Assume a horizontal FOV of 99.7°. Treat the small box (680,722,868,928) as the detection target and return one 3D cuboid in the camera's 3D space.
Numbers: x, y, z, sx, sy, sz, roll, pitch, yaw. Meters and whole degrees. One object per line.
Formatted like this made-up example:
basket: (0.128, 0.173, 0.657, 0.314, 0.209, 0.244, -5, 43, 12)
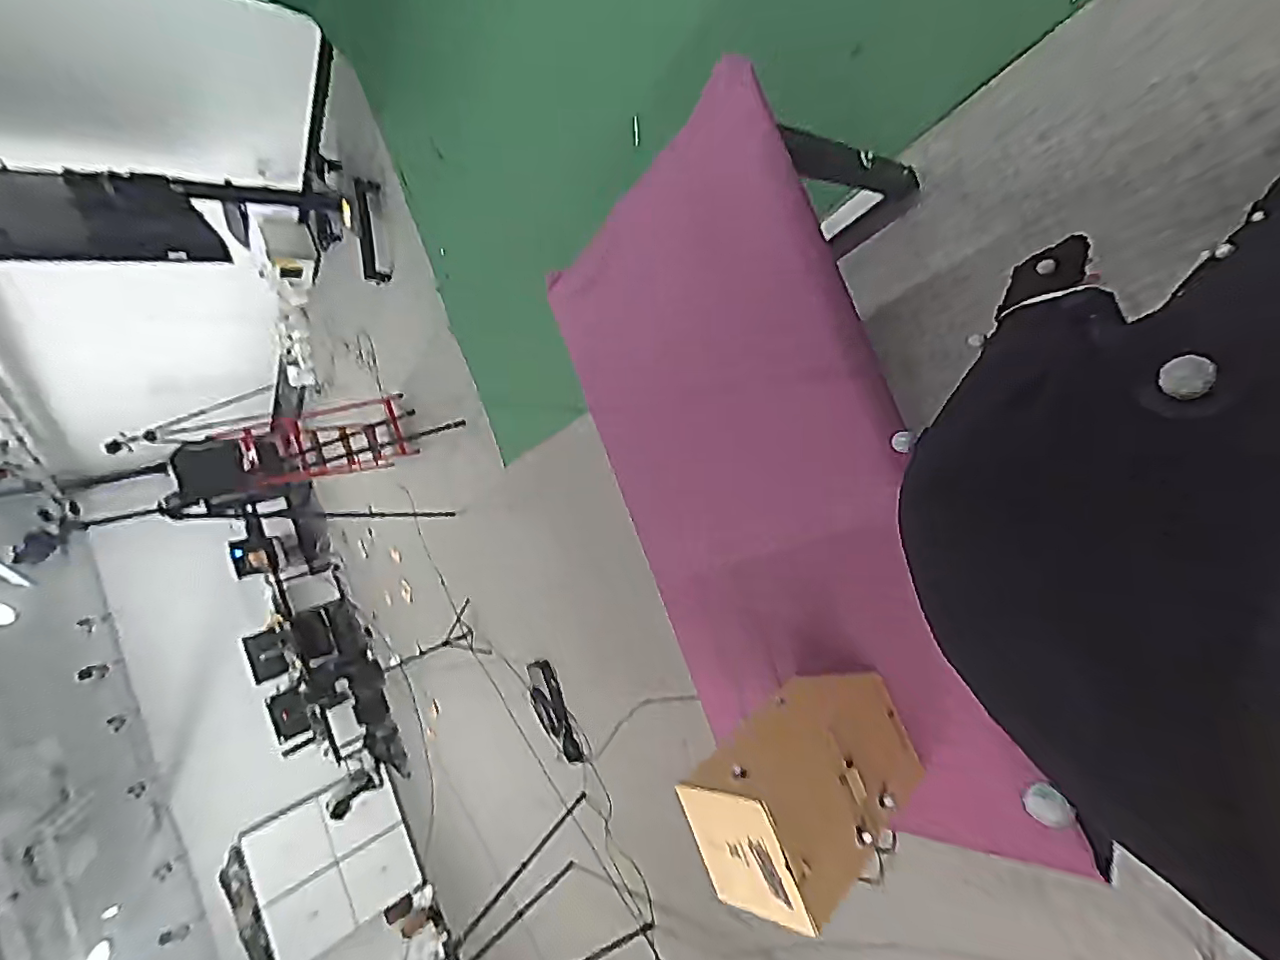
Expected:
small box: (0.194, 0.462, 0.761, 0.179, 0.176, 0.168, -25, 83, 50)
